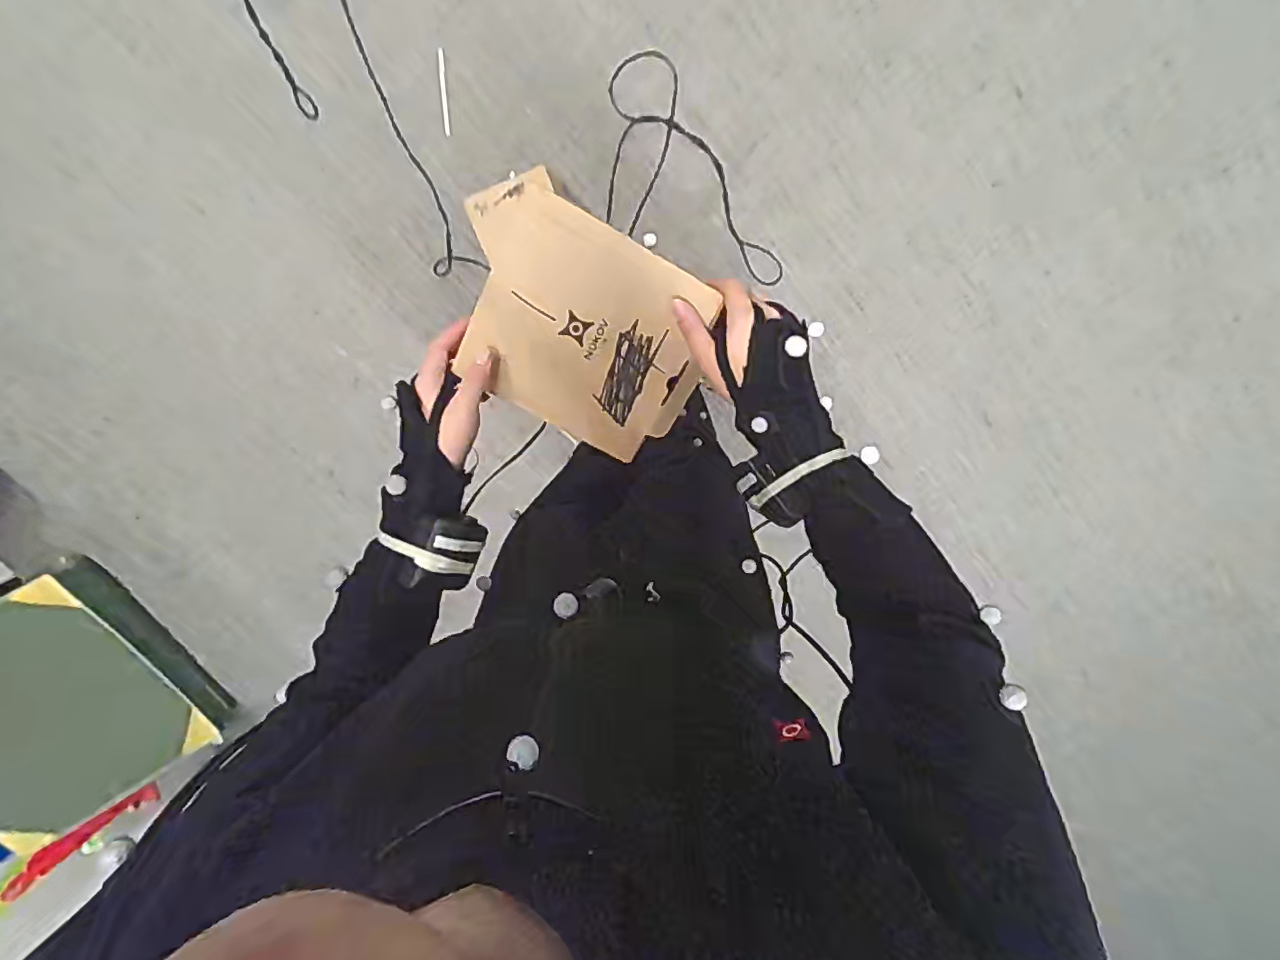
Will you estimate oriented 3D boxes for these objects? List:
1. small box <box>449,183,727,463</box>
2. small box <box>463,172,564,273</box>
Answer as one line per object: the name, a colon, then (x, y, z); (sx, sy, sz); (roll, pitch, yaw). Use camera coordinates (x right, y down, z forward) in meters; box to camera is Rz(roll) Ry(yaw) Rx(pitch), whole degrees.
small box: (-0.044, -0.148, 0.510); (0.179, 0.176, 0.168); (28, 110, -11)
small box: (-0.213, -0.474, 1.064); (0.168, 0.176, 0.179); (-18, 110, 9)
